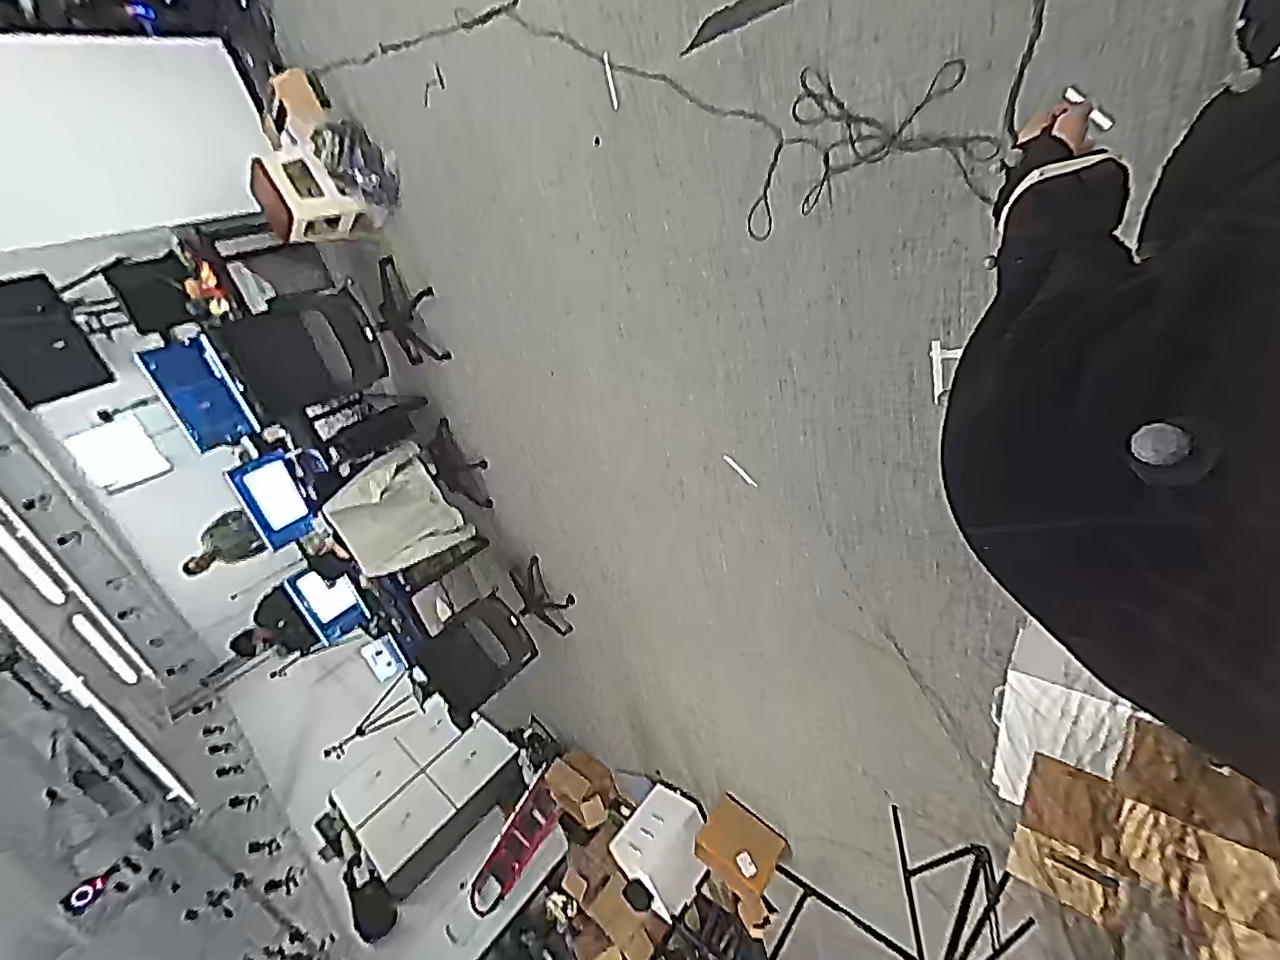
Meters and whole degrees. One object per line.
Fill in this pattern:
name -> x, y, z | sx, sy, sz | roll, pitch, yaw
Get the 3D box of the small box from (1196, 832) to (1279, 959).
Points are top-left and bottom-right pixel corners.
small box -> 0.994, 0.695, 0.831 | 0.168, 0.176, 0.179 | 16, 130, 40
